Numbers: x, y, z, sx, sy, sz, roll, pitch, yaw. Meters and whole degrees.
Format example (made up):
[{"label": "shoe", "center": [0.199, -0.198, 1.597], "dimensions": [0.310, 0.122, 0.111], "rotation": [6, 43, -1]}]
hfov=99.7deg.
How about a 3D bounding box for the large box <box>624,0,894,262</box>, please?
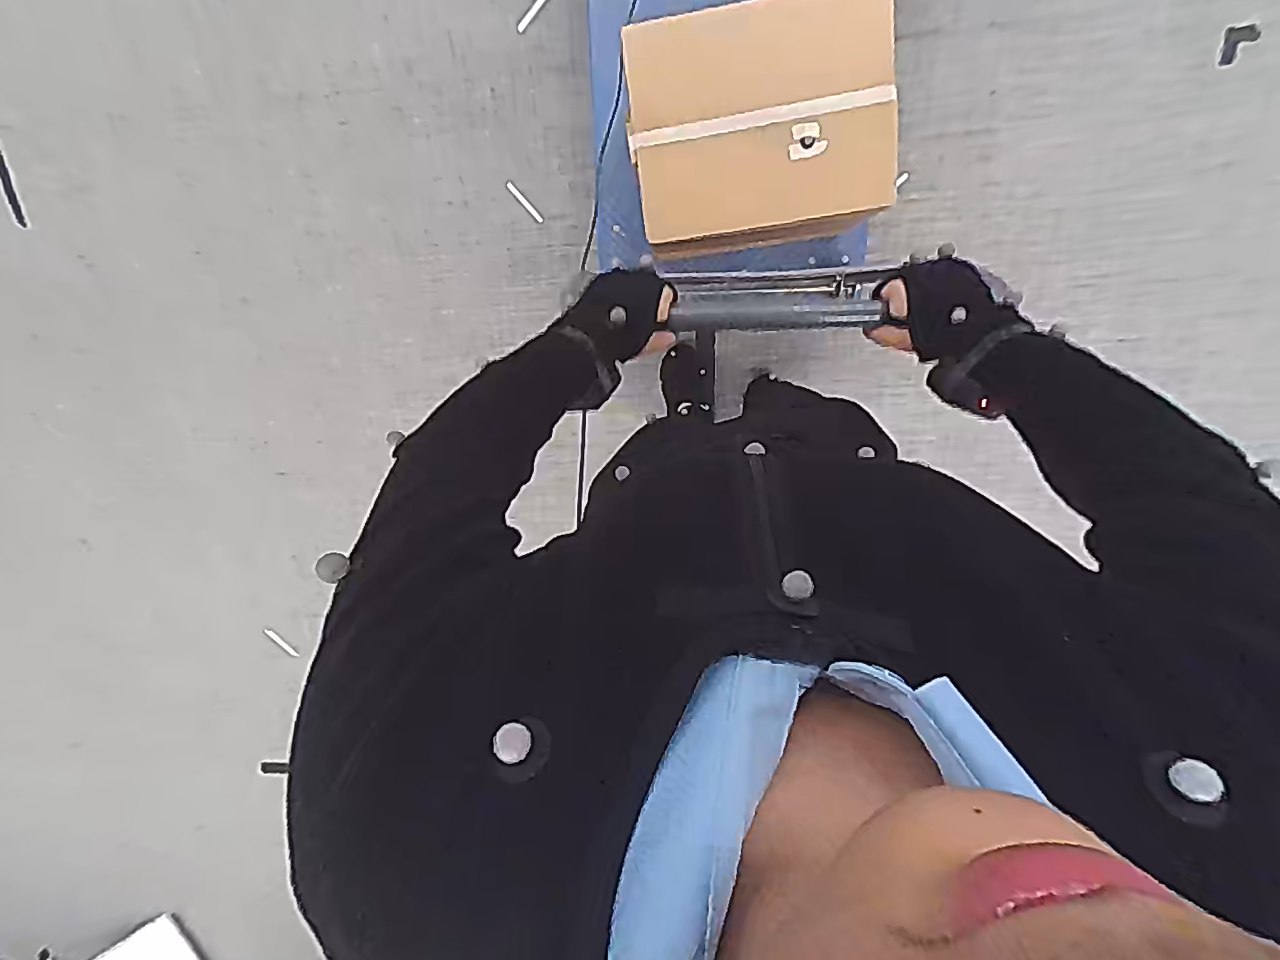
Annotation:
[{"label": "large box", "center": [0.201, -0.615, 1.000], "dimensions": [0.408, 0.320, 0.320], "rotation": [-7, 107, 6]}]
